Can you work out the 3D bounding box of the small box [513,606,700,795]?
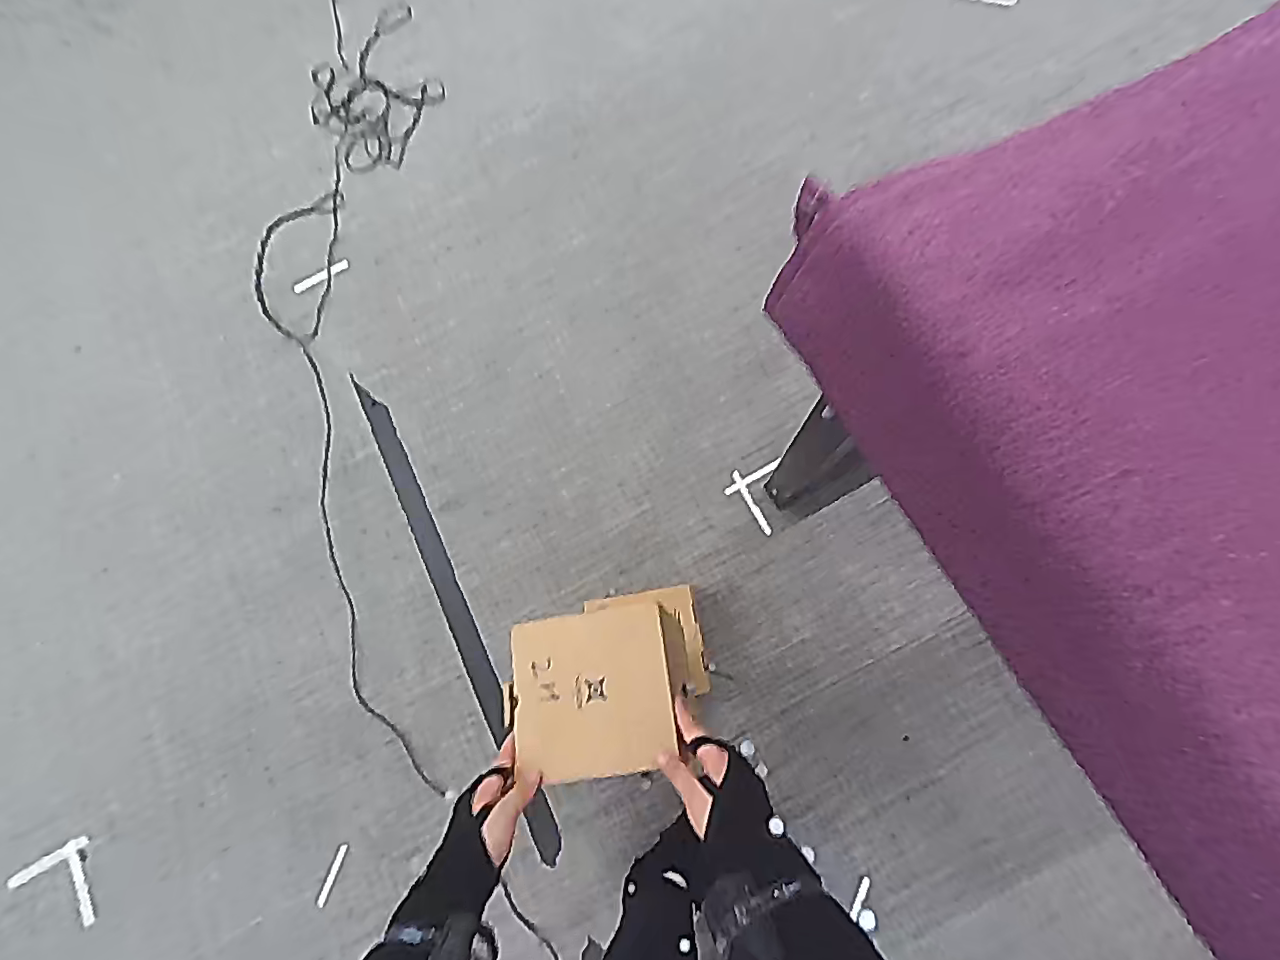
[{"bbox_3d":[-0.031,0.256,0.629,0.179,0.176,0.168,-13,62,9],"label":"small box"}]
